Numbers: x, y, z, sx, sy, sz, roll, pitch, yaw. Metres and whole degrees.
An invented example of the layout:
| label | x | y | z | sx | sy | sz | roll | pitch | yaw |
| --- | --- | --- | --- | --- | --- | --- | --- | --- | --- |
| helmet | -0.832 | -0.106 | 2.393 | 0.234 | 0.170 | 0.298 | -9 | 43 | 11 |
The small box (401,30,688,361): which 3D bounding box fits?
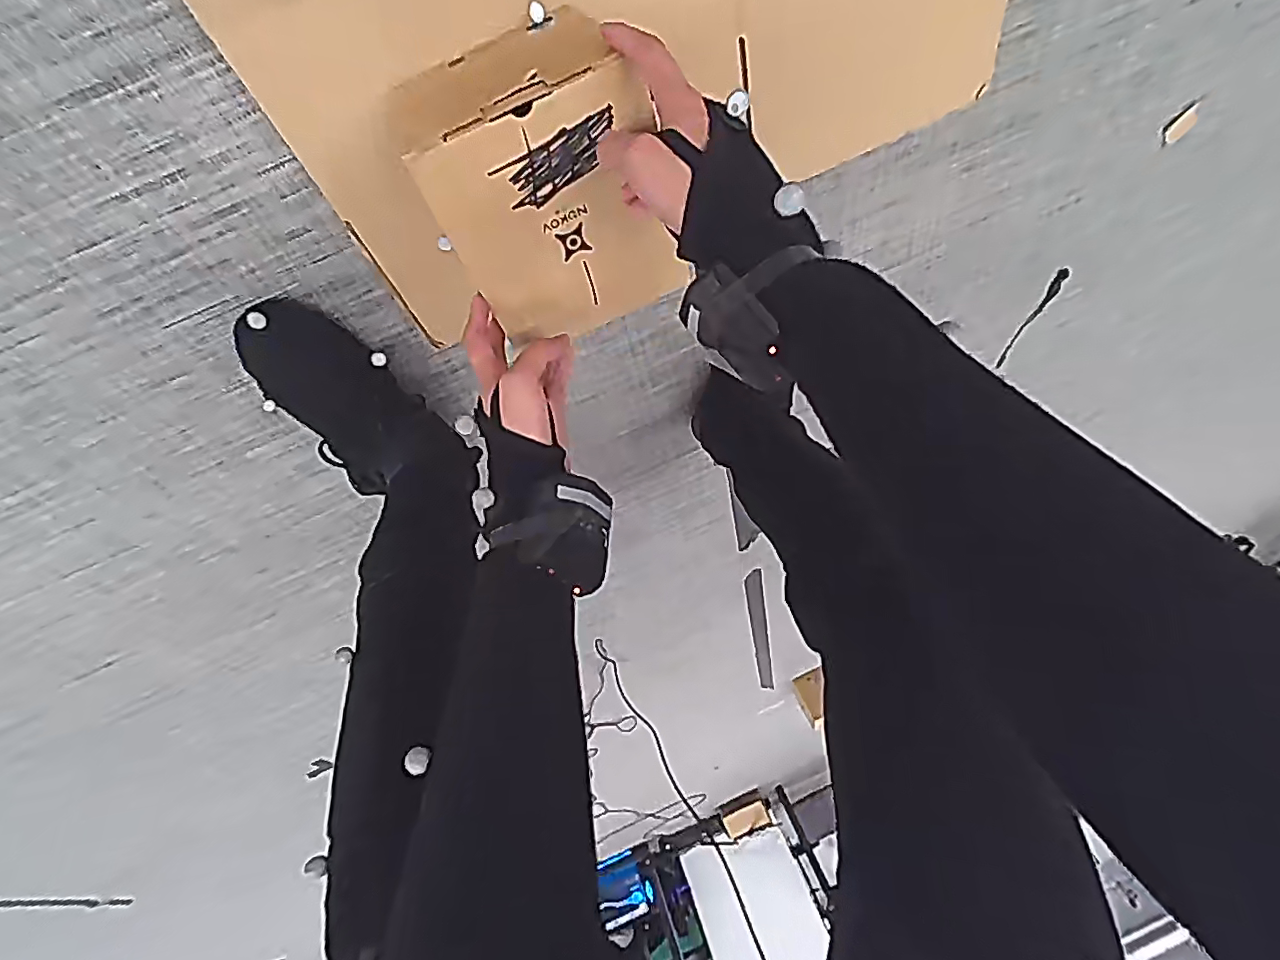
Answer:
| label | x | y | z | sx | sy | sz | roll | pitch | yaw |
| --- | --- | --- | --- | --- | --- | --- | --- | --- | --- |
| small box | -0.080 | -0.242 | 0.457 | 0.168 | 0.176 | 0.179 | -25 | 142 | 0 |
